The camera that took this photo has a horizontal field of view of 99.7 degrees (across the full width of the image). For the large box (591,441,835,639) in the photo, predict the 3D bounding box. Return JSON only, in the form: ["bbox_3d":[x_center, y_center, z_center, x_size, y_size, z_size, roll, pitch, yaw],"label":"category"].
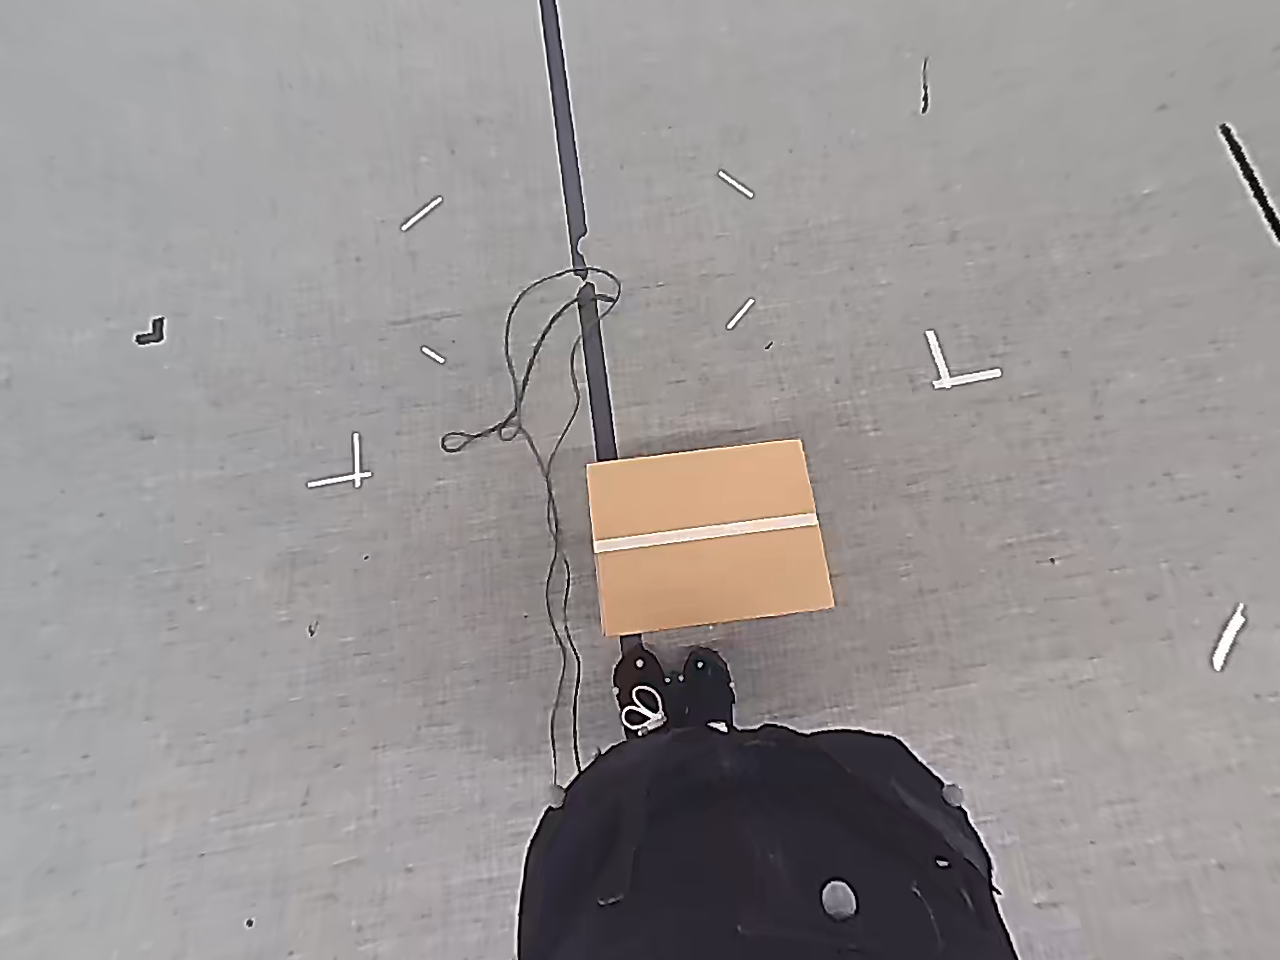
[{"bbox_3d":[0.126,0.137,1.115,0.408,0.320,0.320,-7,77,-1],"label":"large box"}]
